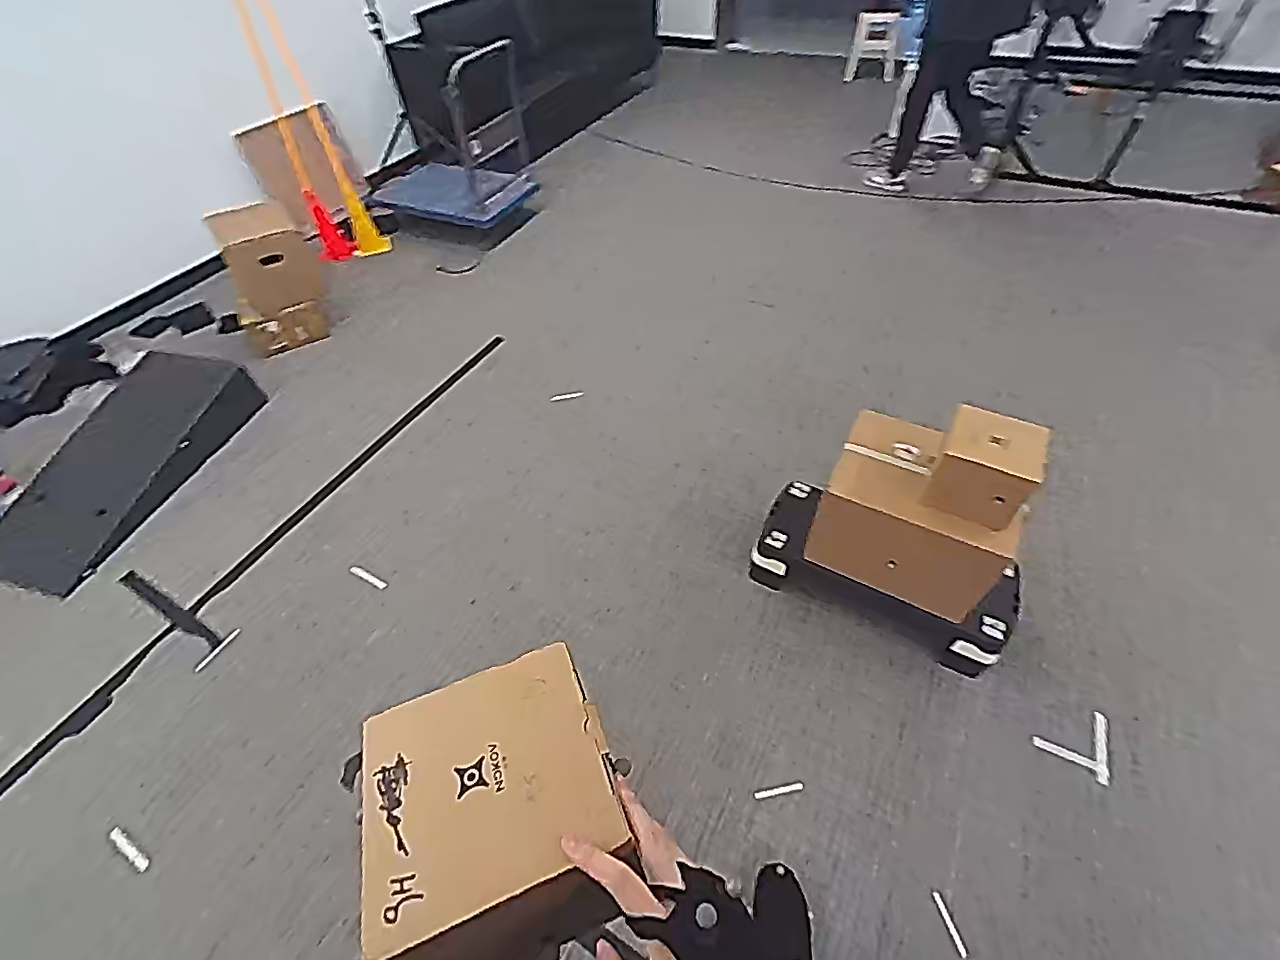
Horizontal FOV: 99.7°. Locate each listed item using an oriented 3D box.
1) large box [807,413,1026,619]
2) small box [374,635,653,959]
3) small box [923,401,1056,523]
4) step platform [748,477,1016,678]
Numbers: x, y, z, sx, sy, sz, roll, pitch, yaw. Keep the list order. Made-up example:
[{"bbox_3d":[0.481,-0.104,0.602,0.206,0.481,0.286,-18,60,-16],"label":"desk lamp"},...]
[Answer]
[{"bbox_3d":[0.687,0.088,1.368,0.408,0.320,0.320,21,54,22],"label":"large box"},{"bbox_3d":[-0.095,0.265,0.443,0.179,0.176,0.168,-17,42,-12],"label":"small box"},{"bbox_3d":[0.733,-0.034,1.145,0.179,0.176,0.168,22,56,22],"label":"small box"},{"bbox_3d":[0.664,0.249,1.546,0.684,0.204,0.286,26,57,25],"label":"step platform"}]
